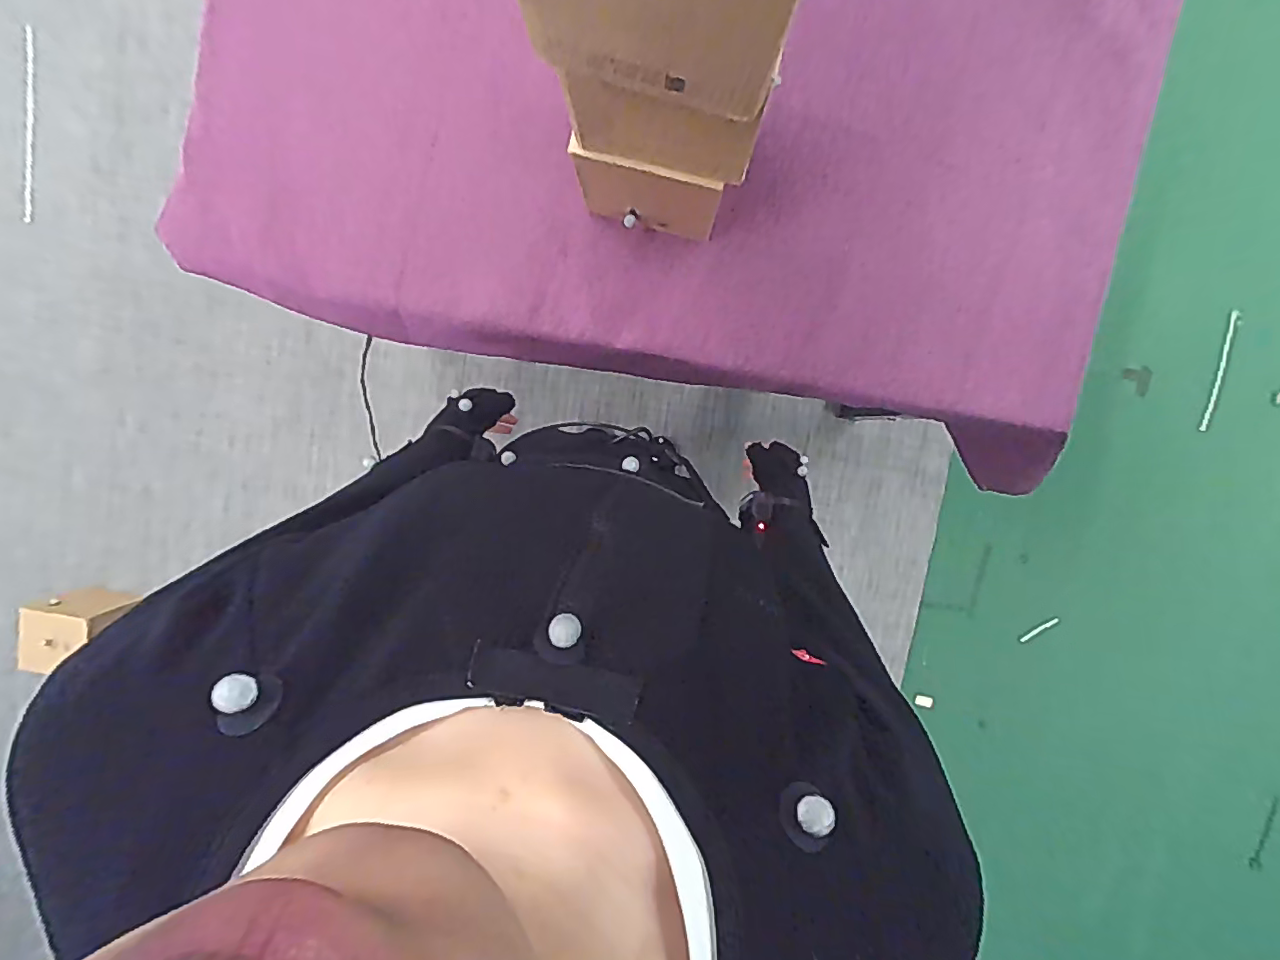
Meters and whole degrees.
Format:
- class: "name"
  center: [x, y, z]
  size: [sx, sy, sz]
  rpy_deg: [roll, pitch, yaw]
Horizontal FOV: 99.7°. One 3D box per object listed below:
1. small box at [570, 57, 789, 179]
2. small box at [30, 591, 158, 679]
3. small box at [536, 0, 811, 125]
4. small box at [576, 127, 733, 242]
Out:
- class: "small box"
  center: [0.038, -0.386, 0.457]
  size: [0.179, 0.176, 0.168]
  rpy_deg: [13, 96, 0]
- class: "small box"
  center: [-1.467, 0.410, 1.458]
  size: [0.179, 0.176, 0.168]
  rpy_deg: [9, 97, 0]
- class: "small box"
  center: [0.031, -0.347, 0.297]
  size: [0.168, 0.176, 0.179]
  rpy_deg: [16, 95, 0]
- class: "small box"
  center: [0.034, -0.403, 0.618]
  size: [0.168, 0.176, 0.179]
  rpy_deg: [14, 97, 0]
